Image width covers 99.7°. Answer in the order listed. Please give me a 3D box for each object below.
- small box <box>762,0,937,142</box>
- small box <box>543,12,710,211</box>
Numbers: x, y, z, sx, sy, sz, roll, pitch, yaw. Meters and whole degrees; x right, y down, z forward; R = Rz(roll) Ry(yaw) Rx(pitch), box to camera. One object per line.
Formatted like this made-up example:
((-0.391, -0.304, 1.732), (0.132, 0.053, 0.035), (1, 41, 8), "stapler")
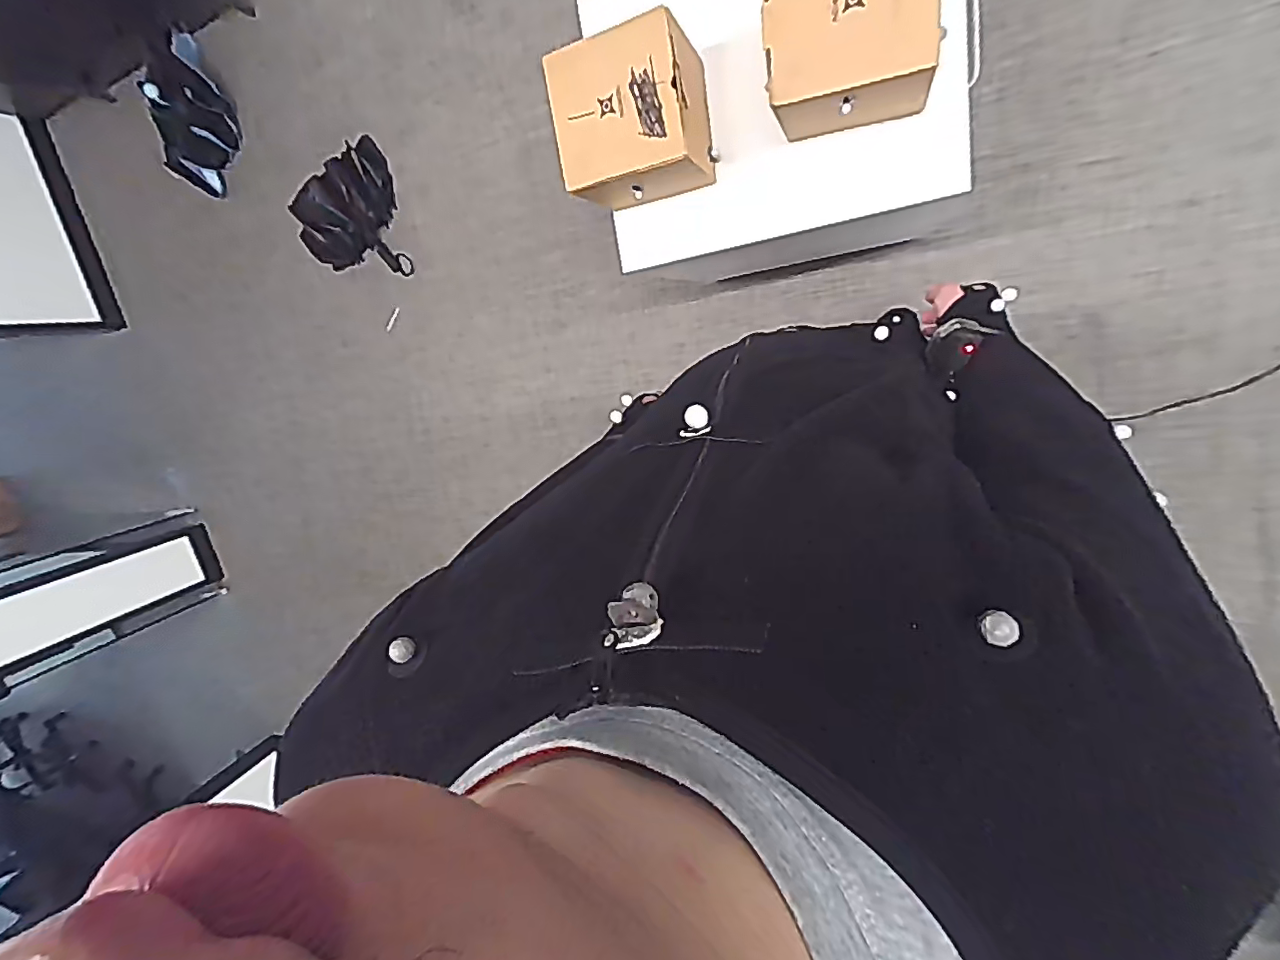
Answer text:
((0.250, -0.530, 0.647), (0.179, 0.176, 0.168), (0, 108, 22), "small box")
((-0.006, -0.496, 0.761), (0.179, 0.176, 0.168), (-3, 105, 23), "small box")
